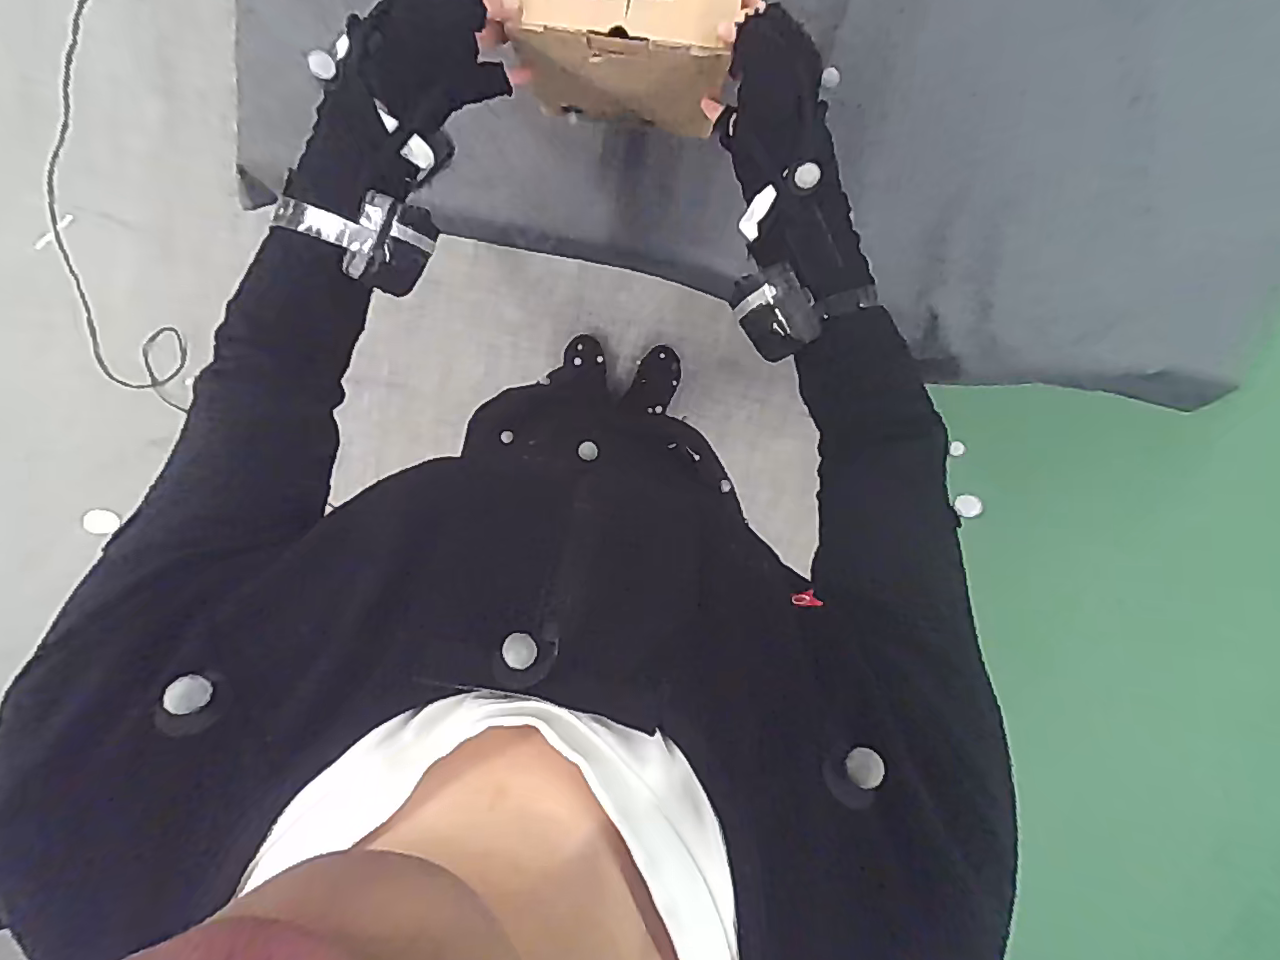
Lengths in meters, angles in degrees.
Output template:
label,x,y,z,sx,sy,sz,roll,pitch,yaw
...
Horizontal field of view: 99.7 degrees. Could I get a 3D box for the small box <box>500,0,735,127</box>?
label,x,y,z,sx,sy,sz,roll,pitch,yaw
small box,-0.005,-0.414,0.433,0.168,0.176,0.179,7,104,-1
